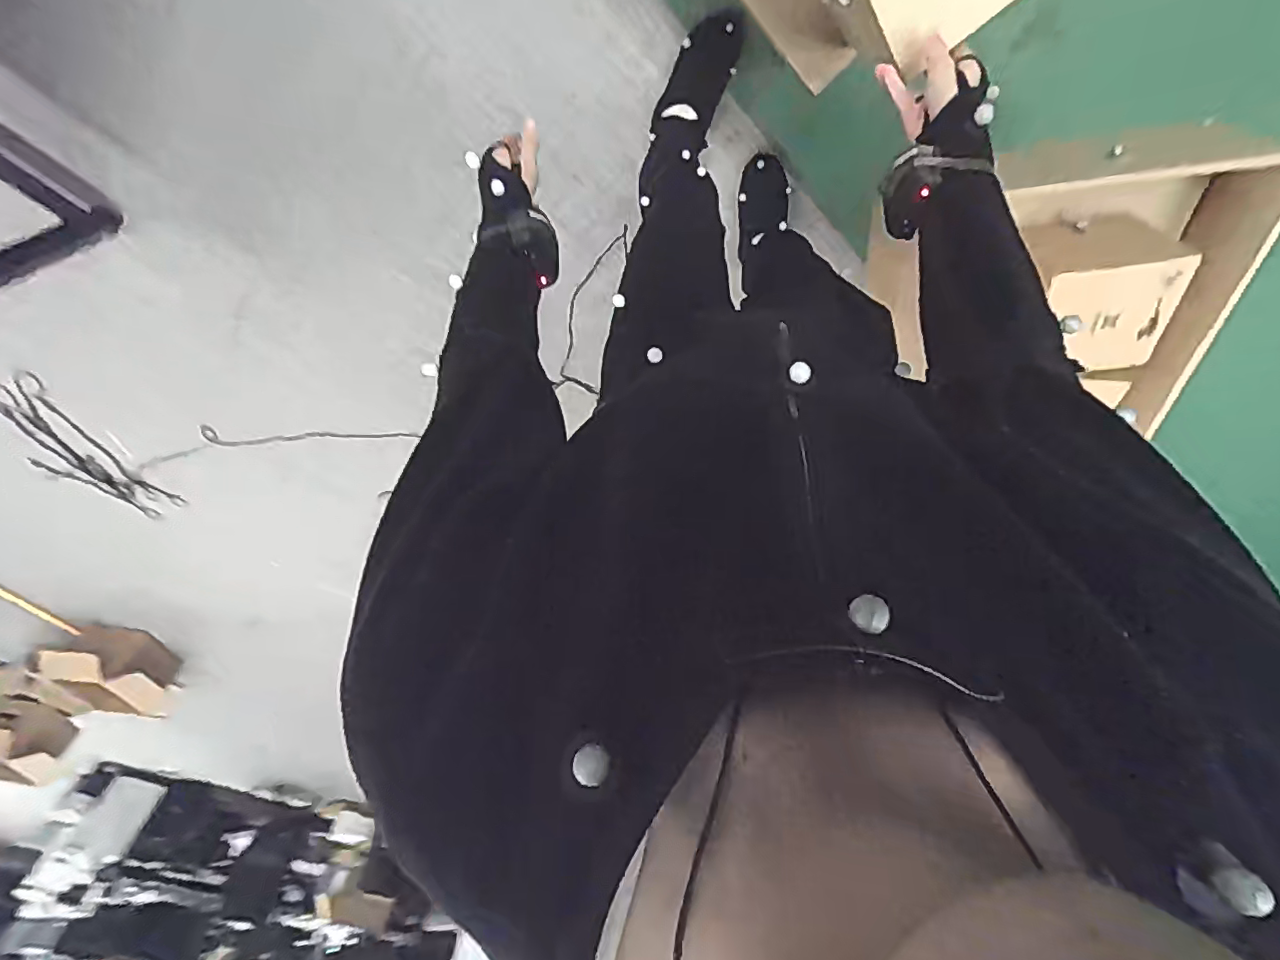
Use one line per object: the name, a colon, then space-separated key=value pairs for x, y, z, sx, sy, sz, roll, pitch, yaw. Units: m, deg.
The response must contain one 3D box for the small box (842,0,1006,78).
small box: x=0.286 y=-0.553 z=0.533 sx=0.168 sy=0.176 sz=0.179 roll=-29 pitch=123 yaw=30
